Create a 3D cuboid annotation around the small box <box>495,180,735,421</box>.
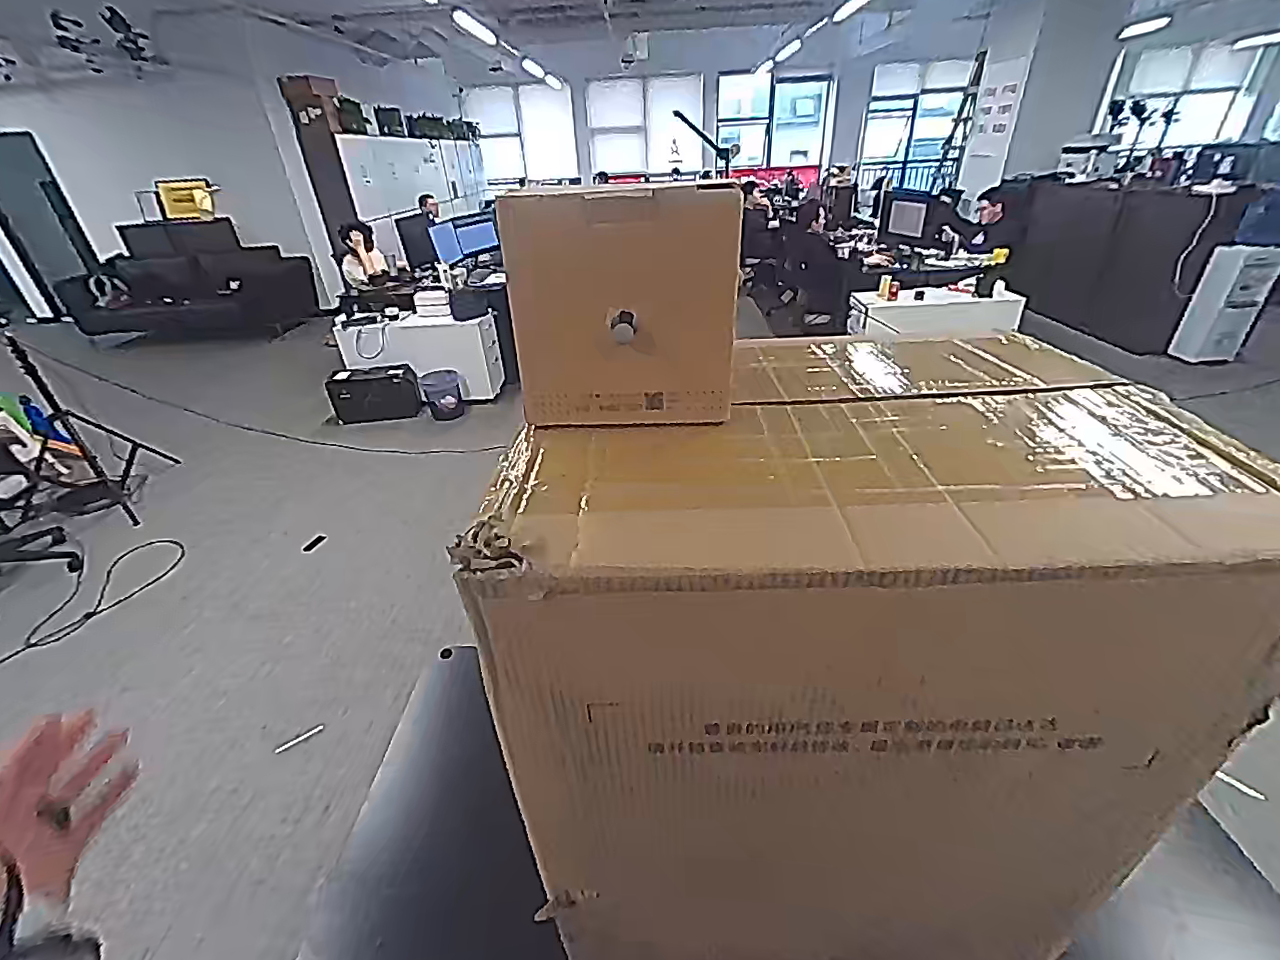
[{"bbox_3d":[-0.011,-0.157,0.468,0.168,0.176,0.179,-1,30,2],"label":"small box"}]
